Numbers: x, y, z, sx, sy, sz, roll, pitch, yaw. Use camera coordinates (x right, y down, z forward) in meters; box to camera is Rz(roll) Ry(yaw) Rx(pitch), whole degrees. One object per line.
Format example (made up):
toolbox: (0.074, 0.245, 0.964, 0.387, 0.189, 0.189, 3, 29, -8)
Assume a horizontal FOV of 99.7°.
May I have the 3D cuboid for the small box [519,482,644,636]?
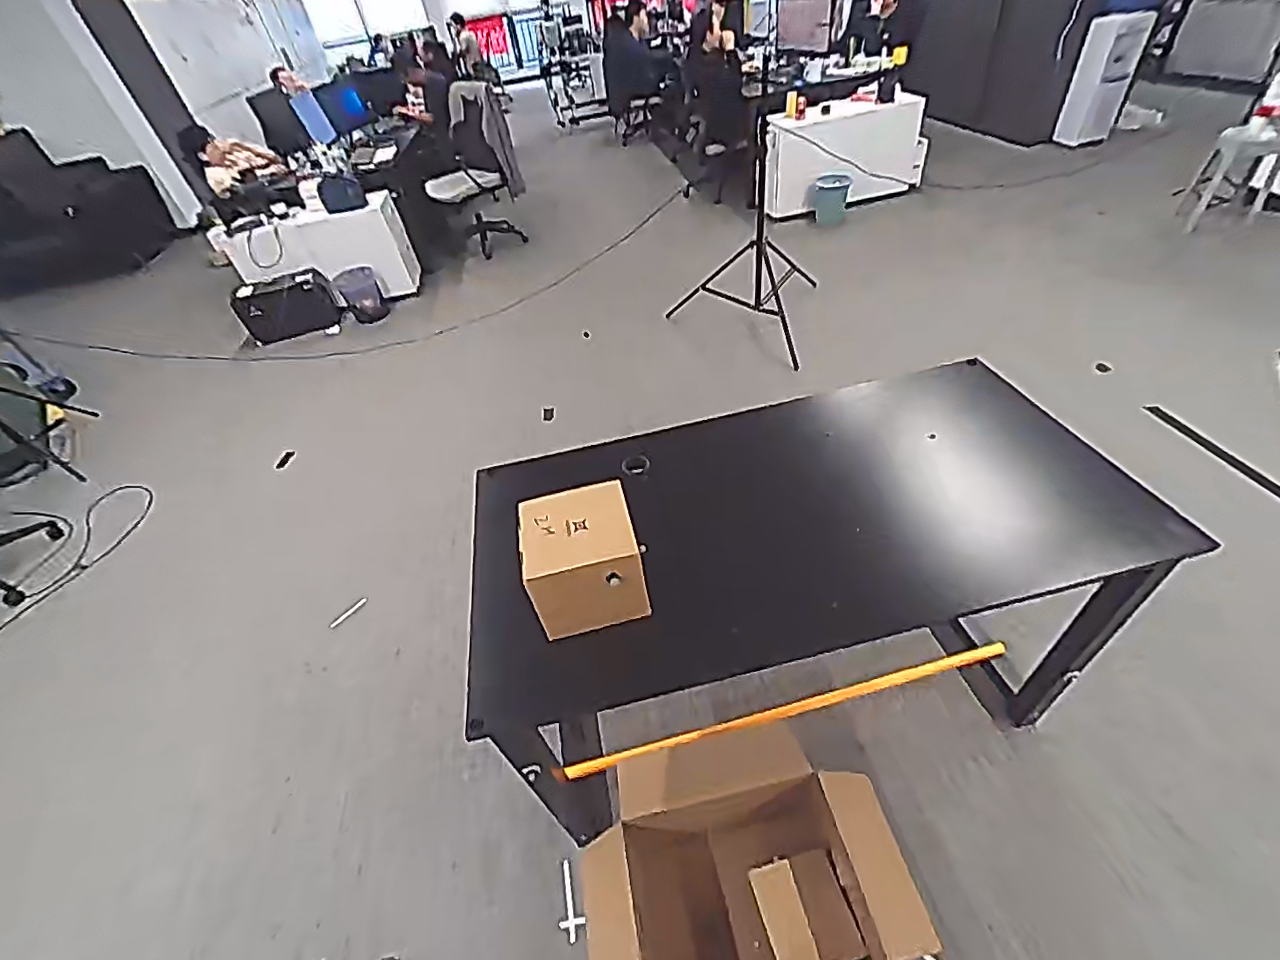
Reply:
small box: (-0.093, 0.133, 0.900, 0.179, 0.176, 0.168, -13, 43, -4)
